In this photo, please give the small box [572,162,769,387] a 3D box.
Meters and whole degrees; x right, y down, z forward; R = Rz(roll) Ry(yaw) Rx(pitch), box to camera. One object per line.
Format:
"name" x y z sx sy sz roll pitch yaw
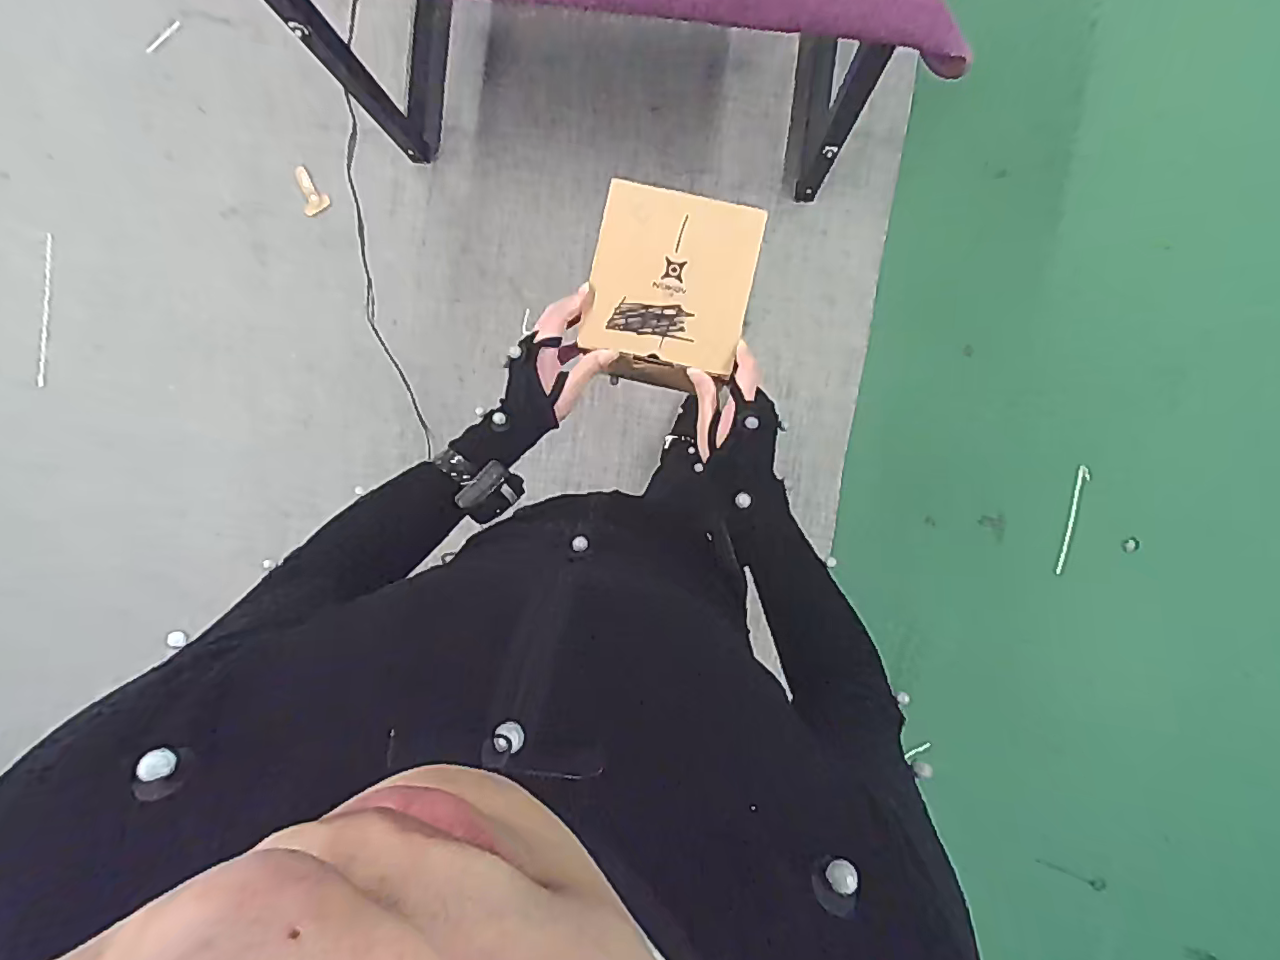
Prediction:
"small box" 0.033 -0.214 0.614 0.168 0.176 0.179 13 91 1
